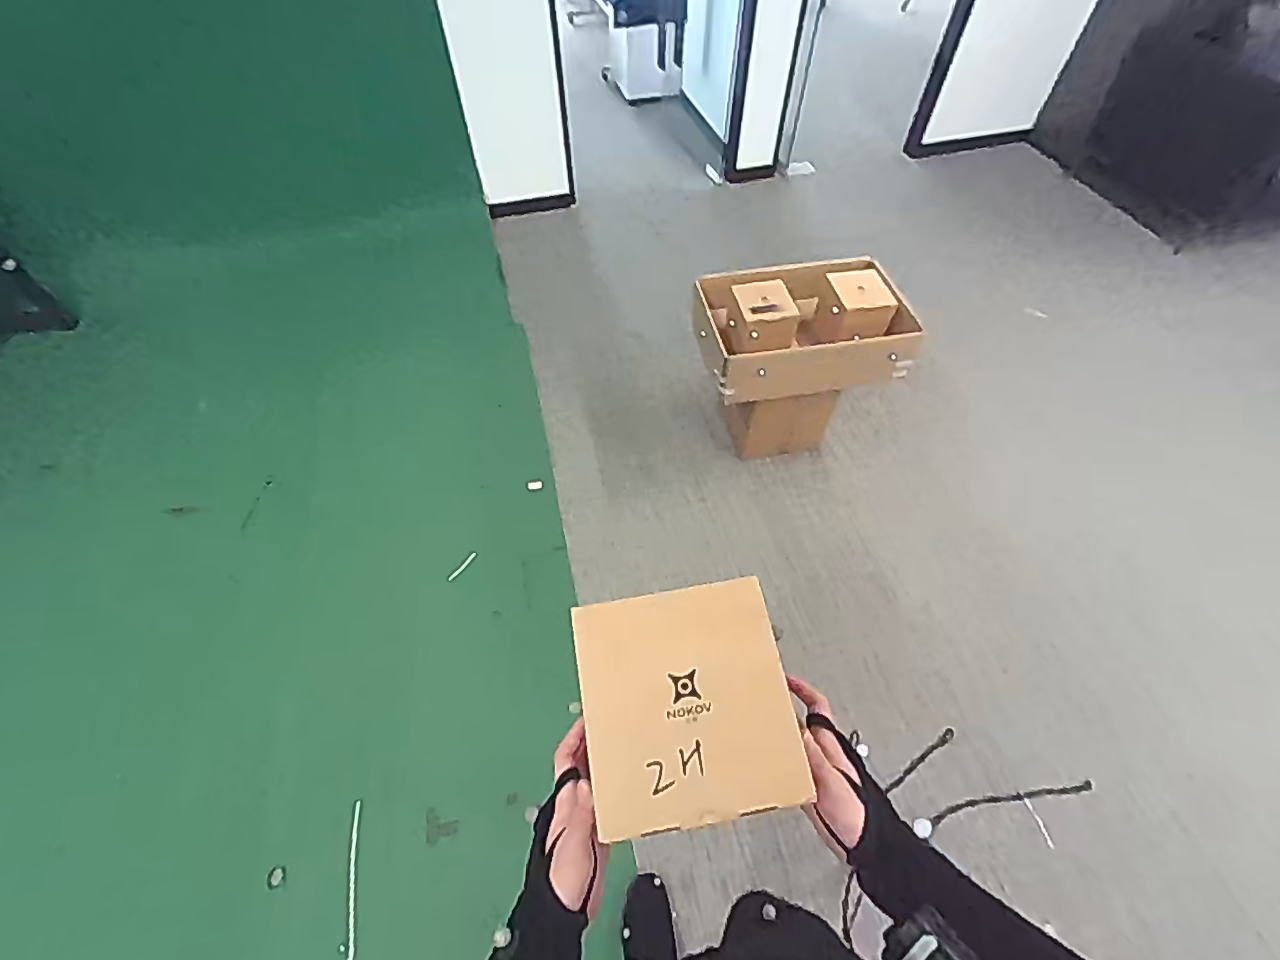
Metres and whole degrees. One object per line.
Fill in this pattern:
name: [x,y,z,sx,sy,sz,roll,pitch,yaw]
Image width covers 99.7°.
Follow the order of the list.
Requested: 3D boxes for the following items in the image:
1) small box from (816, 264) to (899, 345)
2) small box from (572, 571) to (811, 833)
small box: [0.675,-0.551,1.704,0.168,0.176,0.179,-8,56,-5]
small box: [0.036,0.202,0.501,0.168,0.176,0.179,-10,65,-2]
